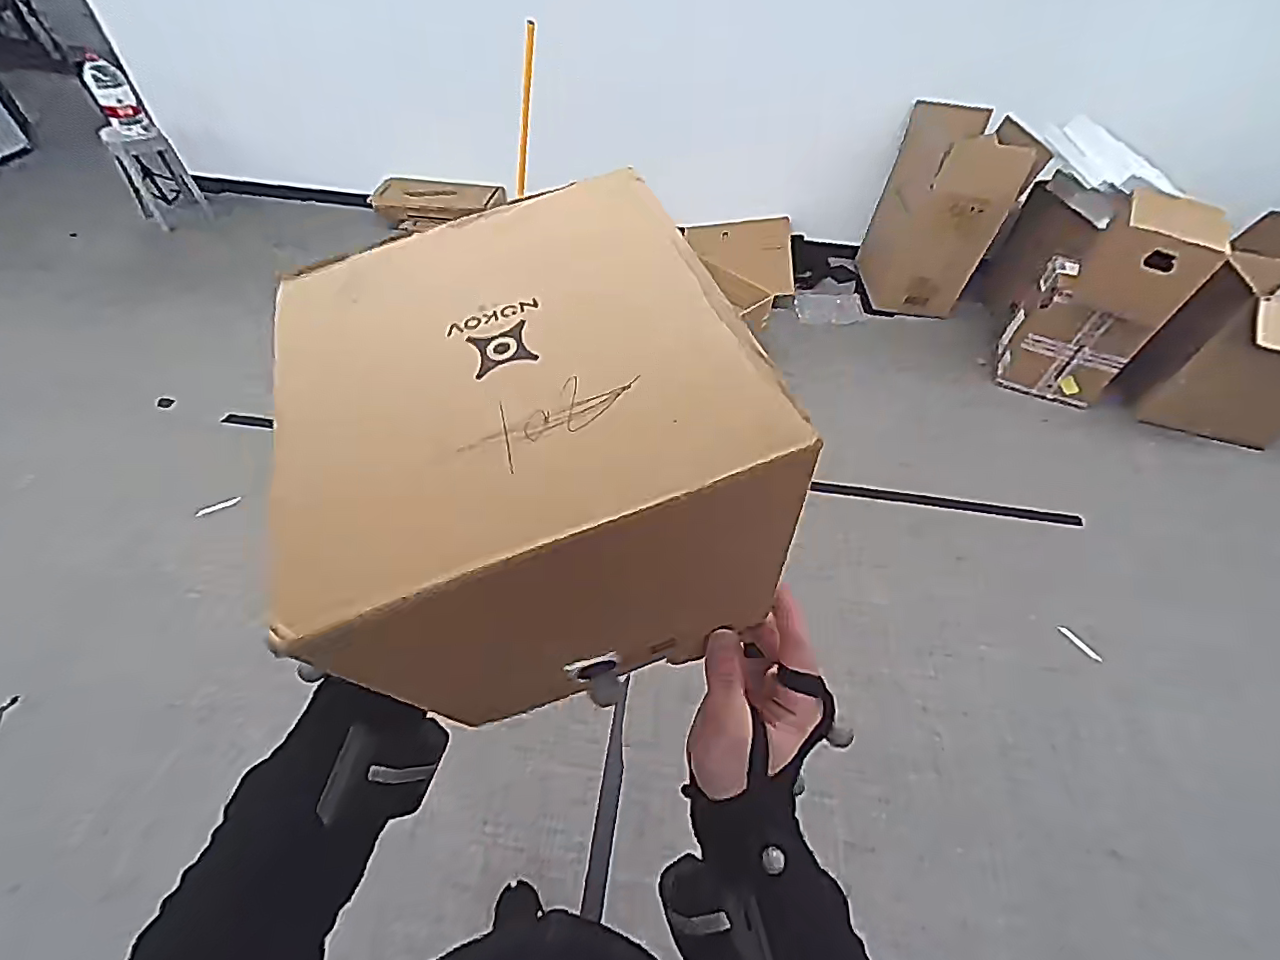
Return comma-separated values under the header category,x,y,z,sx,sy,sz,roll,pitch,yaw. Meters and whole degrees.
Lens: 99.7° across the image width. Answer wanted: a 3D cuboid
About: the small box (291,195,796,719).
category,x,y,z,sx,sy,sz,roll,pitch,yaw
small box,-0.044,-0.002,0.279,0.168,0.176,0.179,-23,59,-5
